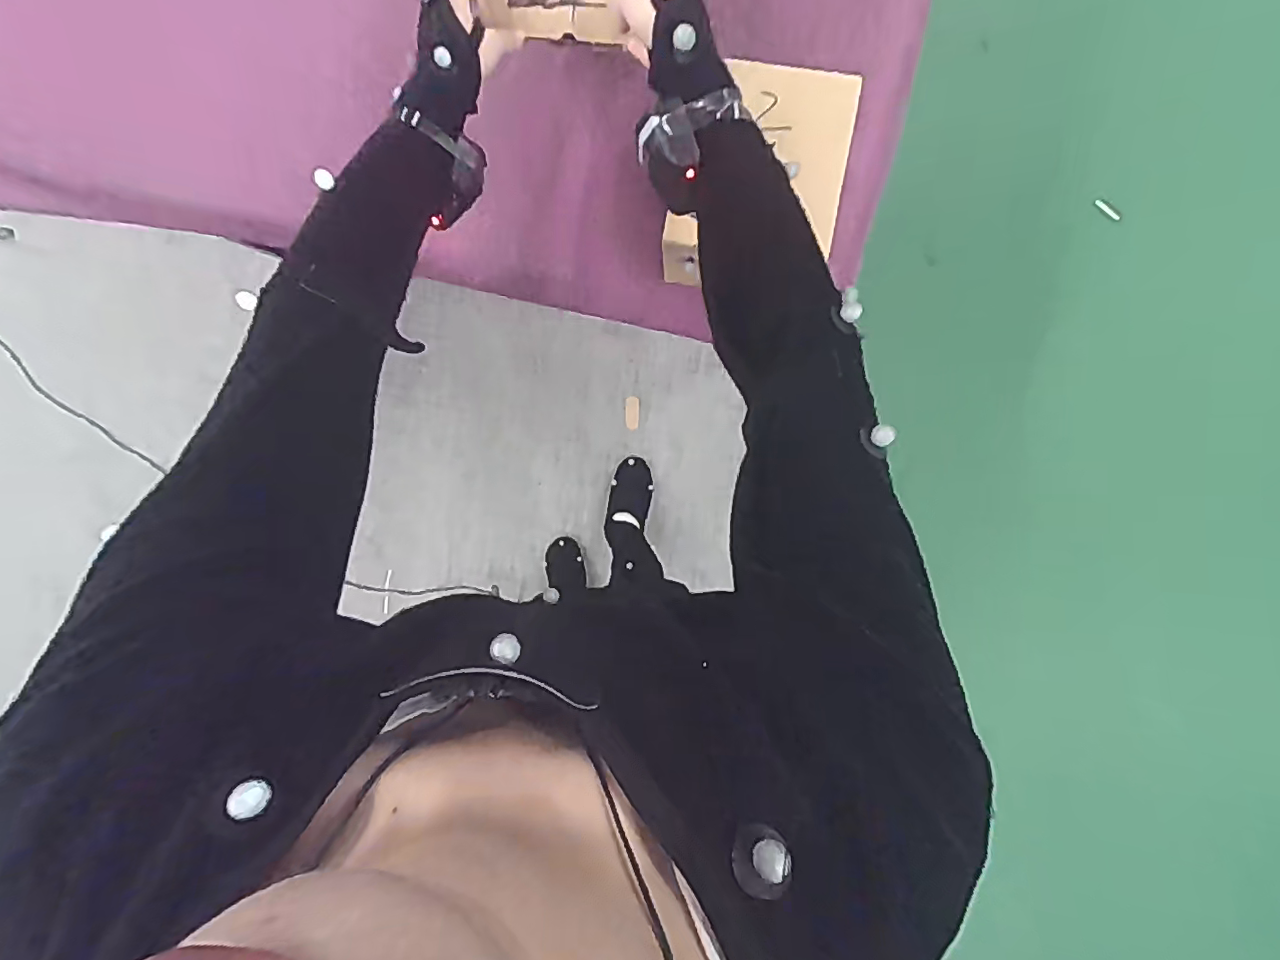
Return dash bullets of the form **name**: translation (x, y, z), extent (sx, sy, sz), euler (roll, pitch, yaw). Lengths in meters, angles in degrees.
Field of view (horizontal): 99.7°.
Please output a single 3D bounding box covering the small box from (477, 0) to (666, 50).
- **small box**: translation (-0.055, -0.523, 0.499), extent (0.168, 0.176, 0.179), euler (6, 132, 0)
